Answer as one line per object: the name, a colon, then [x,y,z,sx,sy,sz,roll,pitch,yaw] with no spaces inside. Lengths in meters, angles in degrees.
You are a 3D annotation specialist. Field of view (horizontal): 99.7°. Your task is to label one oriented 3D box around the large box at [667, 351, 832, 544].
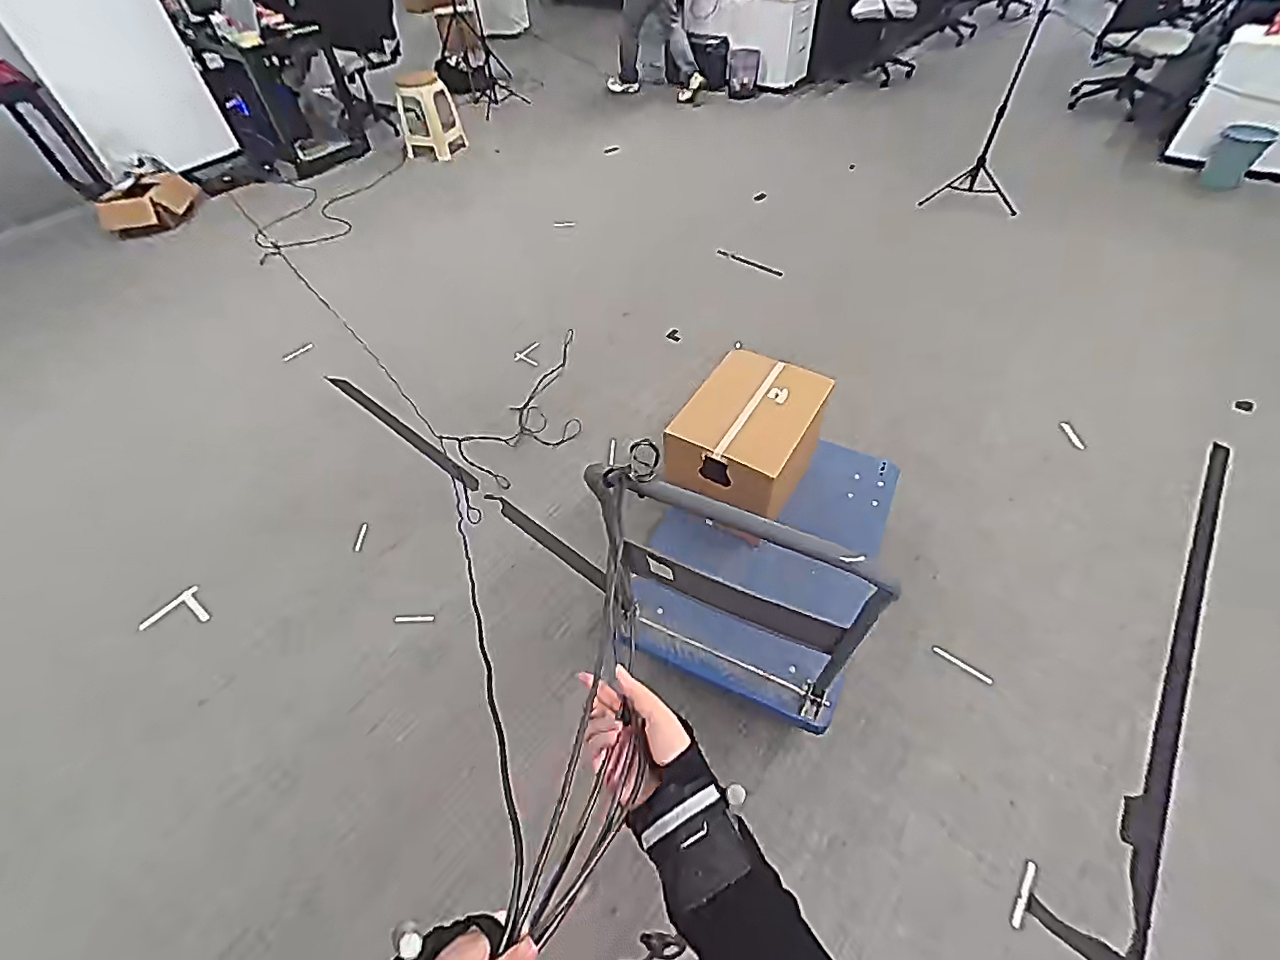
large box: [0.304,-0.096,1.545,0.320,0.320,0.408,25,56,21]
